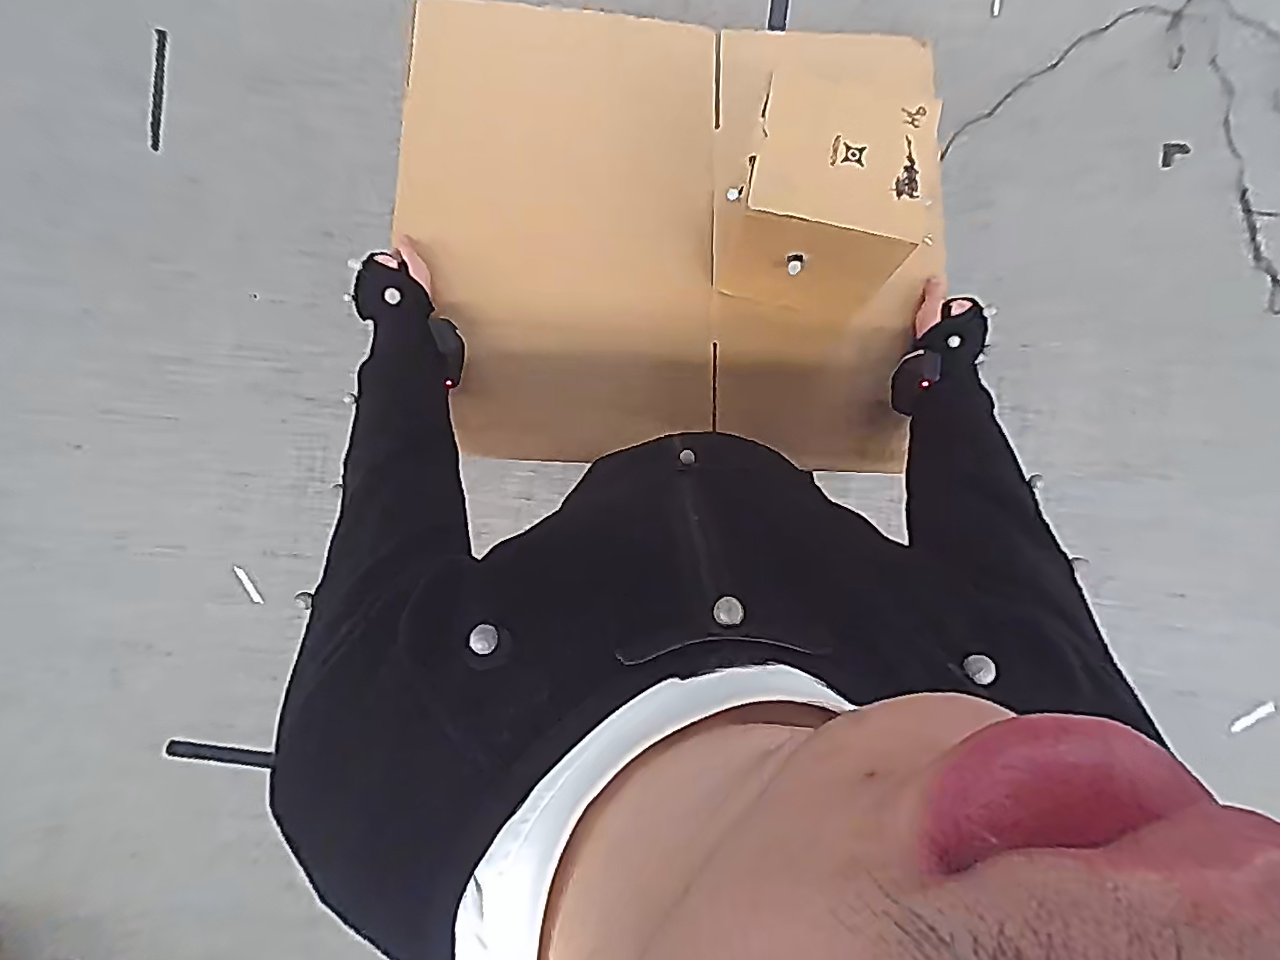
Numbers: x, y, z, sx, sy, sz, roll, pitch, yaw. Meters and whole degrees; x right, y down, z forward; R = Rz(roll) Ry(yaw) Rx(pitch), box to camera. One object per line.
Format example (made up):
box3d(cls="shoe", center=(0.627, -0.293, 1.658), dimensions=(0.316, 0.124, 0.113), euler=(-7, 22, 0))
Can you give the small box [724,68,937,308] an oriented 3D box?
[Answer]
box3d(cls="small box", center=(0.203, -0.319, 0.622), dimensions=(0.179, 0.176, 0.168), euler=(12, 82, 2))
